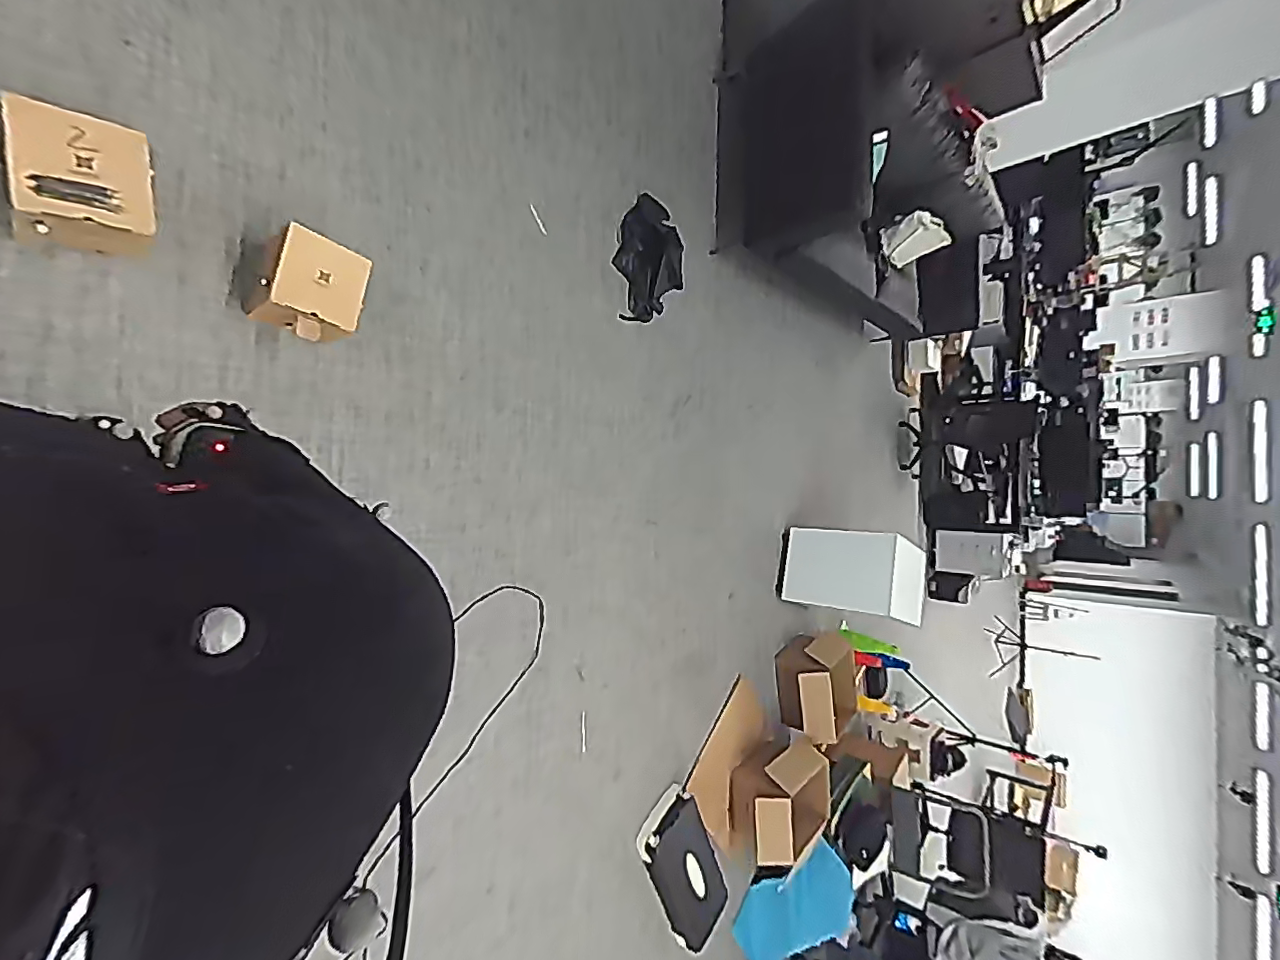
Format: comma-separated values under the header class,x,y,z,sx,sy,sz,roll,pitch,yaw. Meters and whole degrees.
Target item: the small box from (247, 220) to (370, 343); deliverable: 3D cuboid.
class,x,y,z,sx,sy,sz,roll,pitch,yaw
small box,-0.722,-0.420,1.175,0.168,0.176,0.179,18,77,-48
